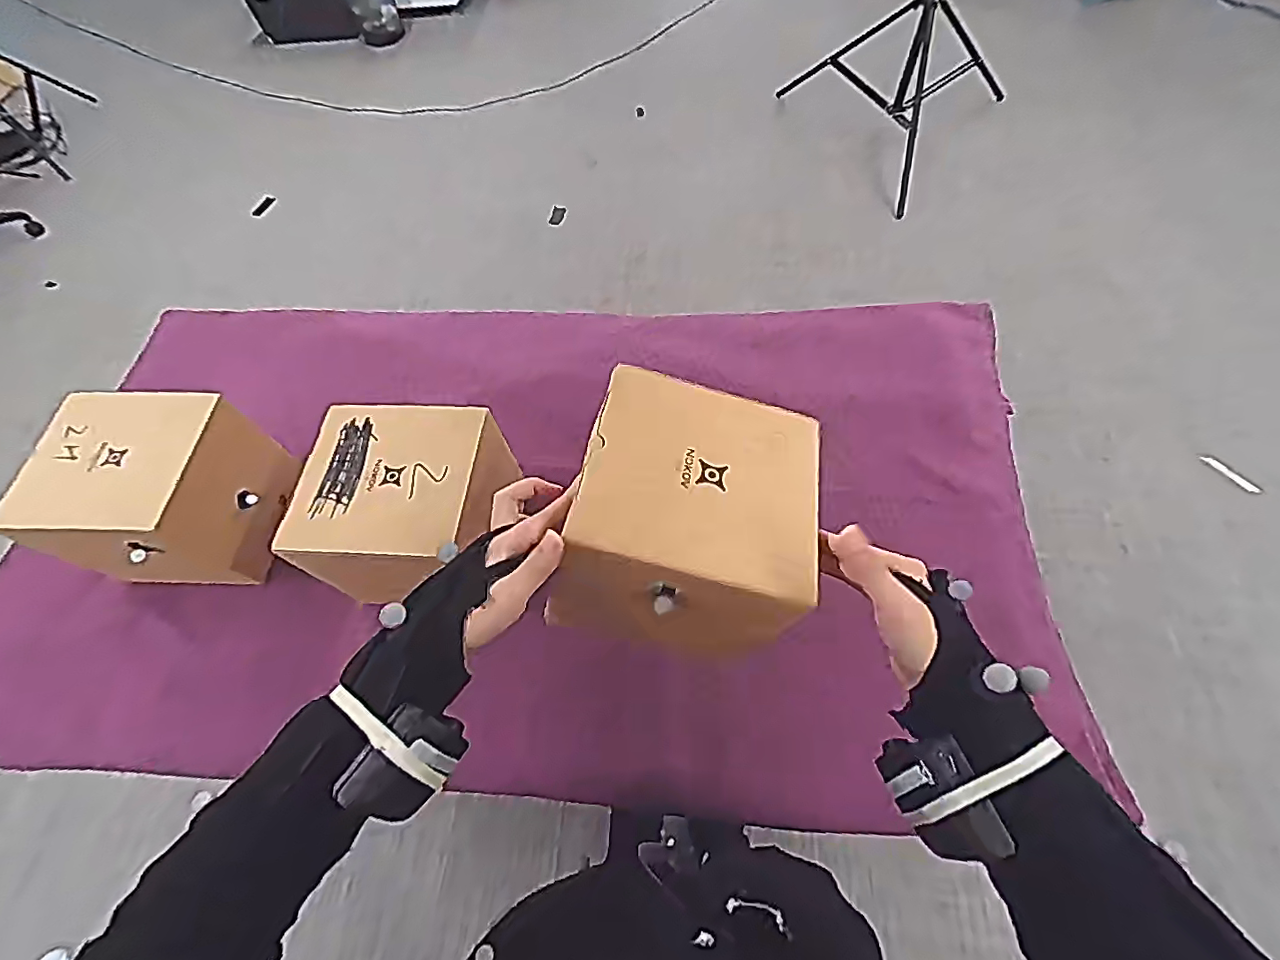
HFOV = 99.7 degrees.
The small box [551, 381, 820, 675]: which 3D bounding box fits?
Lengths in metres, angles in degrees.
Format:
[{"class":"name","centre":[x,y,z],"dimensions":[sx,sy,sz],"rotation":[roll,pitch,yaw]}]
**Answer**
[{"class":"small box","centre":[0.033,0.048,0.465],"dimensions":[0.179,0.176,0.168],"rotation":[15,48,-2]}]

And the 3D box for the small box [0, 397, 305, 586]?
[{"class":"small box","centre":[-0.539,0.020,0.633],"dimensions":[0.179,0.176,0.168],"rotation":[1,61,3]}]
